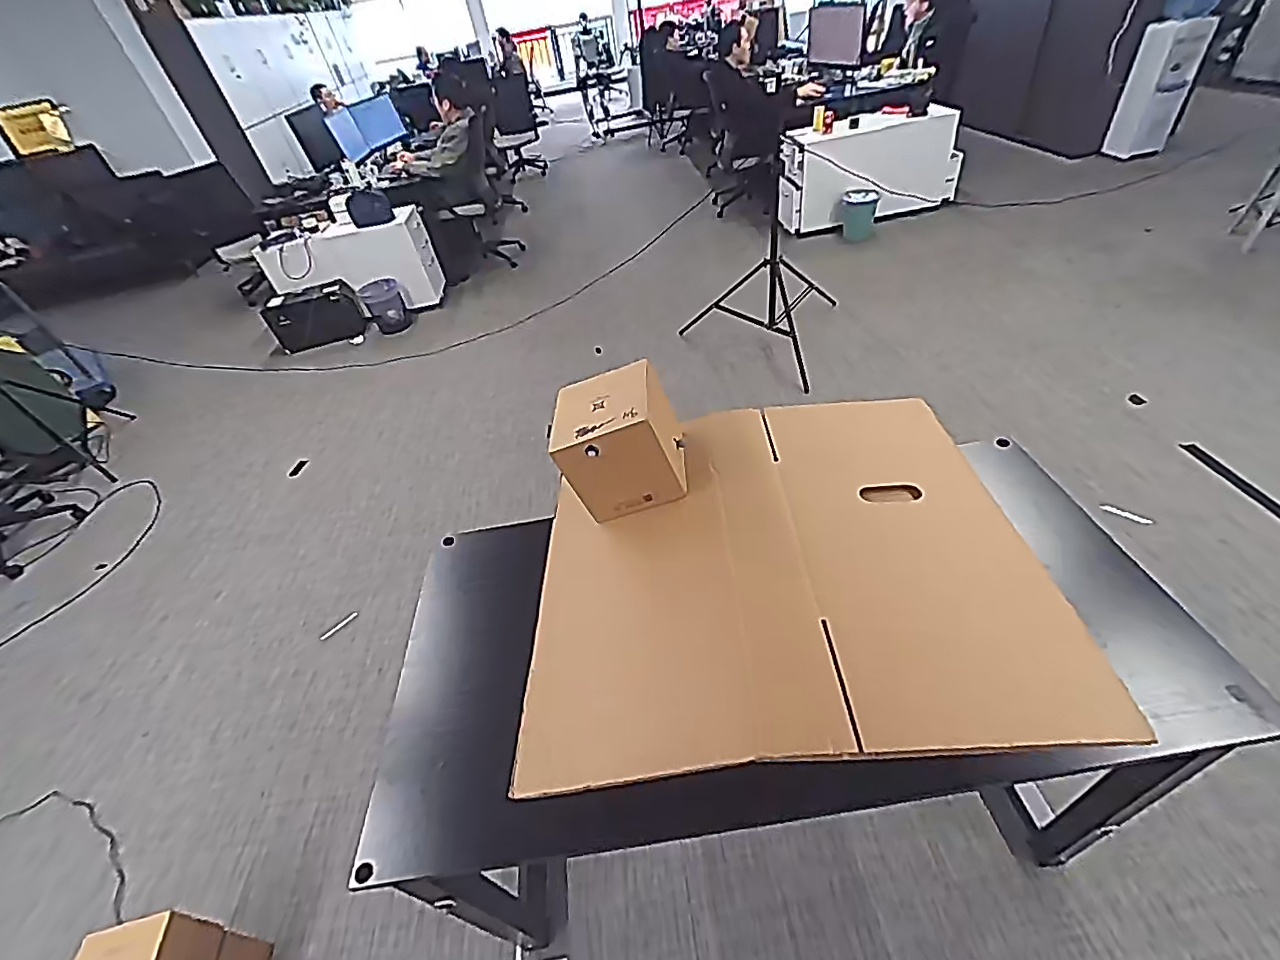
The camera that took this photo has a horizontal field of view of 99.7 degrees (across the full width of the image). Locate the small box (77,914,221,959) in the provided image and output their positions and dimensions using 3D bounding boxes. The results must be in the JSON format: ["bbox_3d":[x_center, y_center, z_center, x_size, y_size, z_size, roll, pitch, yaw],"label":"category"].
[{"bbox_3d":[-0.963,0.981,1.042,0.168,0.176,0.179,-14,41,-5],"label":"small box"}]

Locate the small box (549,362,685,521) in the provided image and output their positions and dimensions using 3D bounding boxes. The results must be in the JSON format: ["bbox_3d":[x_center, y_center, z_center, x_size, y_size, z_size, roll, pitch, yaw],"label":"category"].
[{"bbox_3d":[-0.030,-0.061,0.900,0.168,0.176,0.179,-18,39,15],"label":"small box"}]

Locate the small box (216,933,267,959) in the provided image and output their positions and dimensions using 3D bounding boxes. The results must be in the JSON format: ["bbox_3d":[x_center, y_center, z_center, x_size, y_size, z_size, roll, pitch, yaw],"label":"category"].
[{"bbox_3d":[-0.937,1.103,1.146,0.168,0.176,0.179,-13,42,-2],"label":"small box"}]
